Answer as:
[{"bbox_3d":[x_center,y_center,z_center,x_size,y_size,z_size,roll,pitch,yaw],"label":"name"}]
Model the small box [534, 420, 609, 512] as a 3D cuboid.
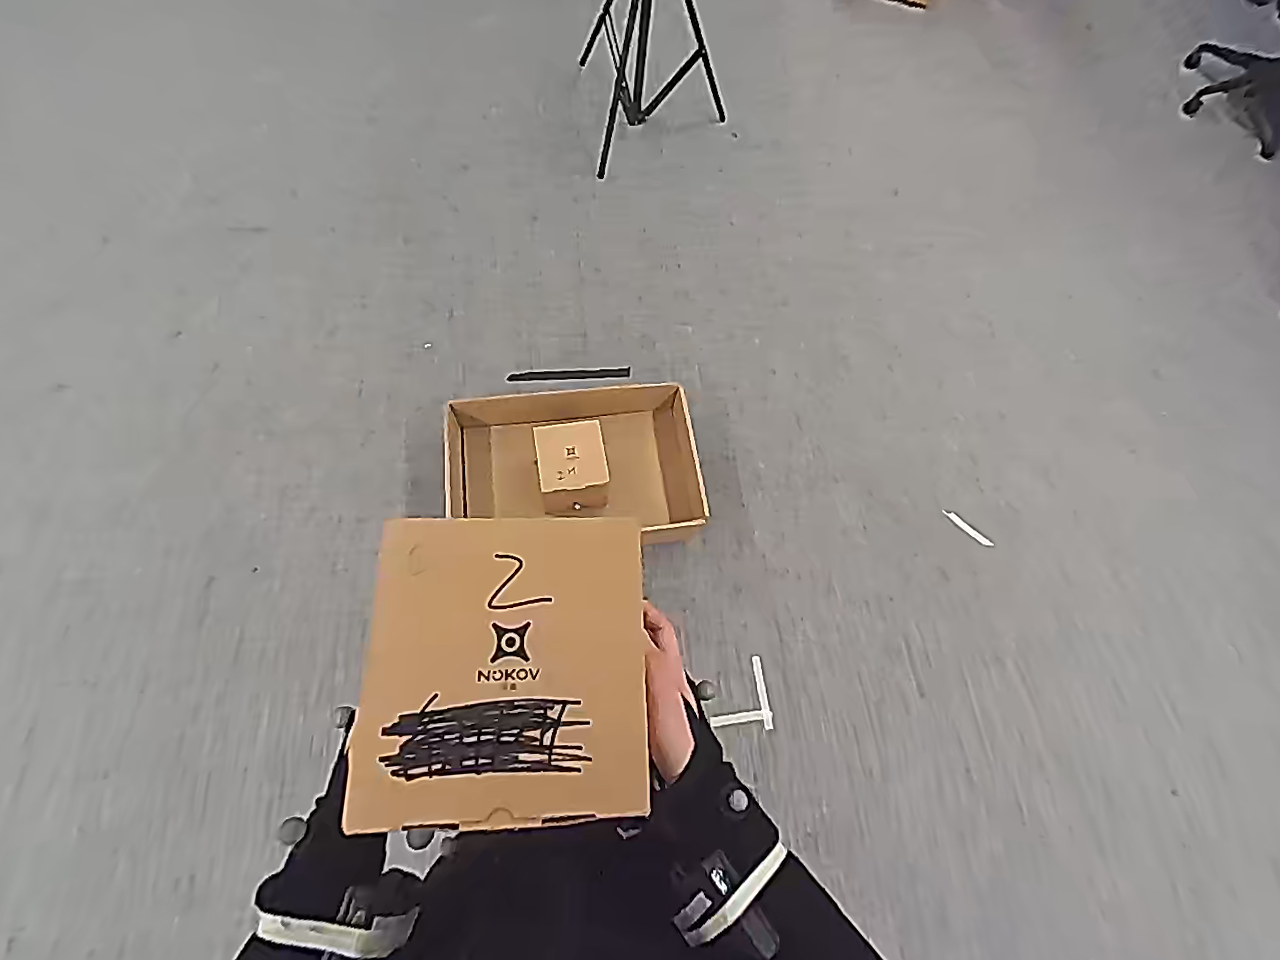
[{"bbox_3d":[-0.176,-0.033,1.384,0.168,0.176,0.179,-8,70,-9],"label":"small box"}]
